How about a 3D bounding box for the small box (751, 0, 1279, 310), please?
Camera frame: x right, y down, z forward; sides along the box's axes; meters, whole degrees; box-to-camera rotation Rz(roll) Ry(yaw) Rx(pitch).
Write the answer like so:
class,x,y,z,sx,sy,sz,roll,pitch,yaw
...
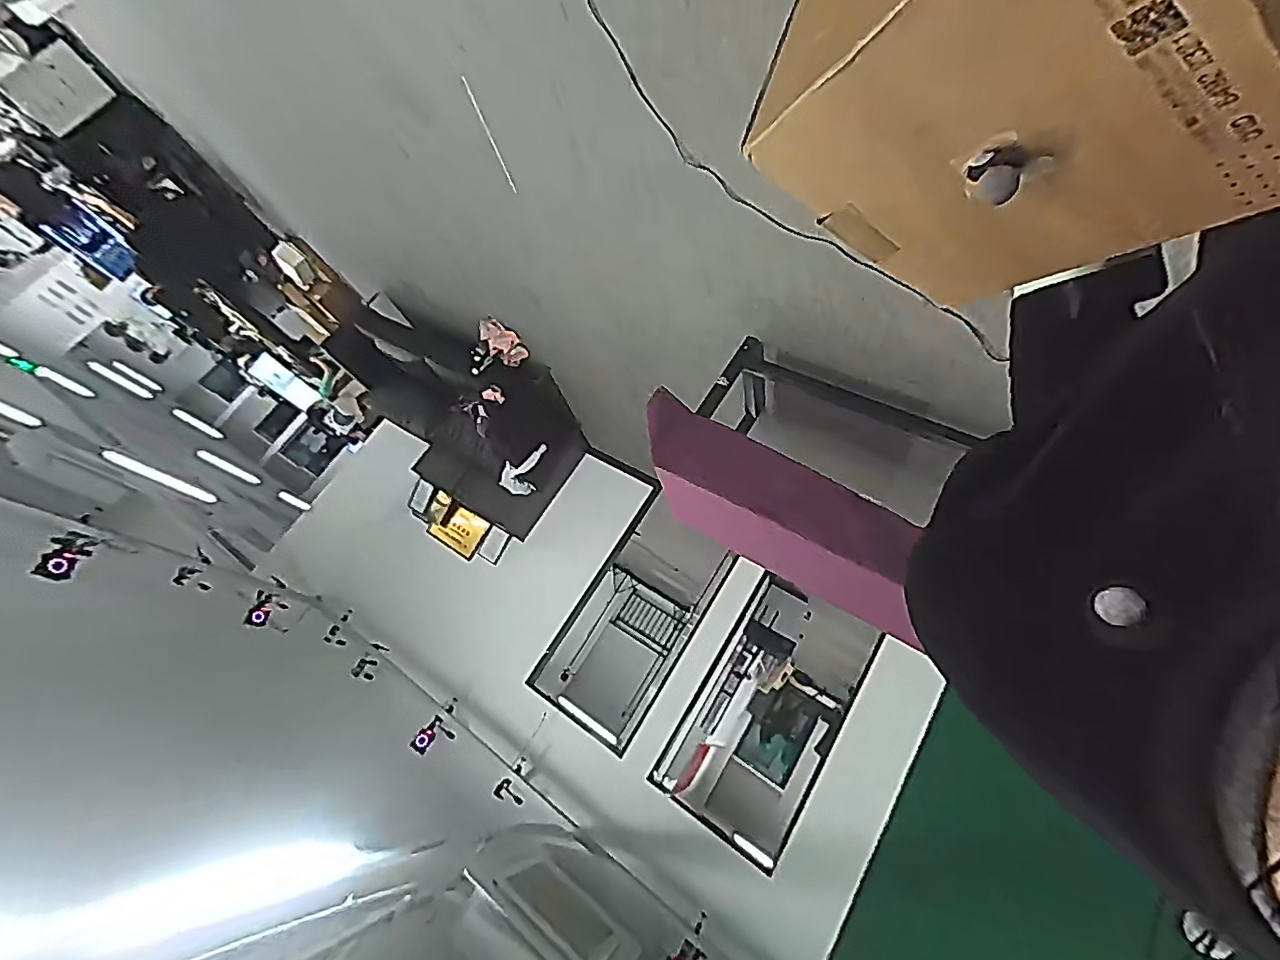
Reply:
class,x,y,z,sx,sy,sz,roll,pitch,yaw
small box,0.188,-0.217,0.260,0.168,0.179,0.176,23,172,-24
